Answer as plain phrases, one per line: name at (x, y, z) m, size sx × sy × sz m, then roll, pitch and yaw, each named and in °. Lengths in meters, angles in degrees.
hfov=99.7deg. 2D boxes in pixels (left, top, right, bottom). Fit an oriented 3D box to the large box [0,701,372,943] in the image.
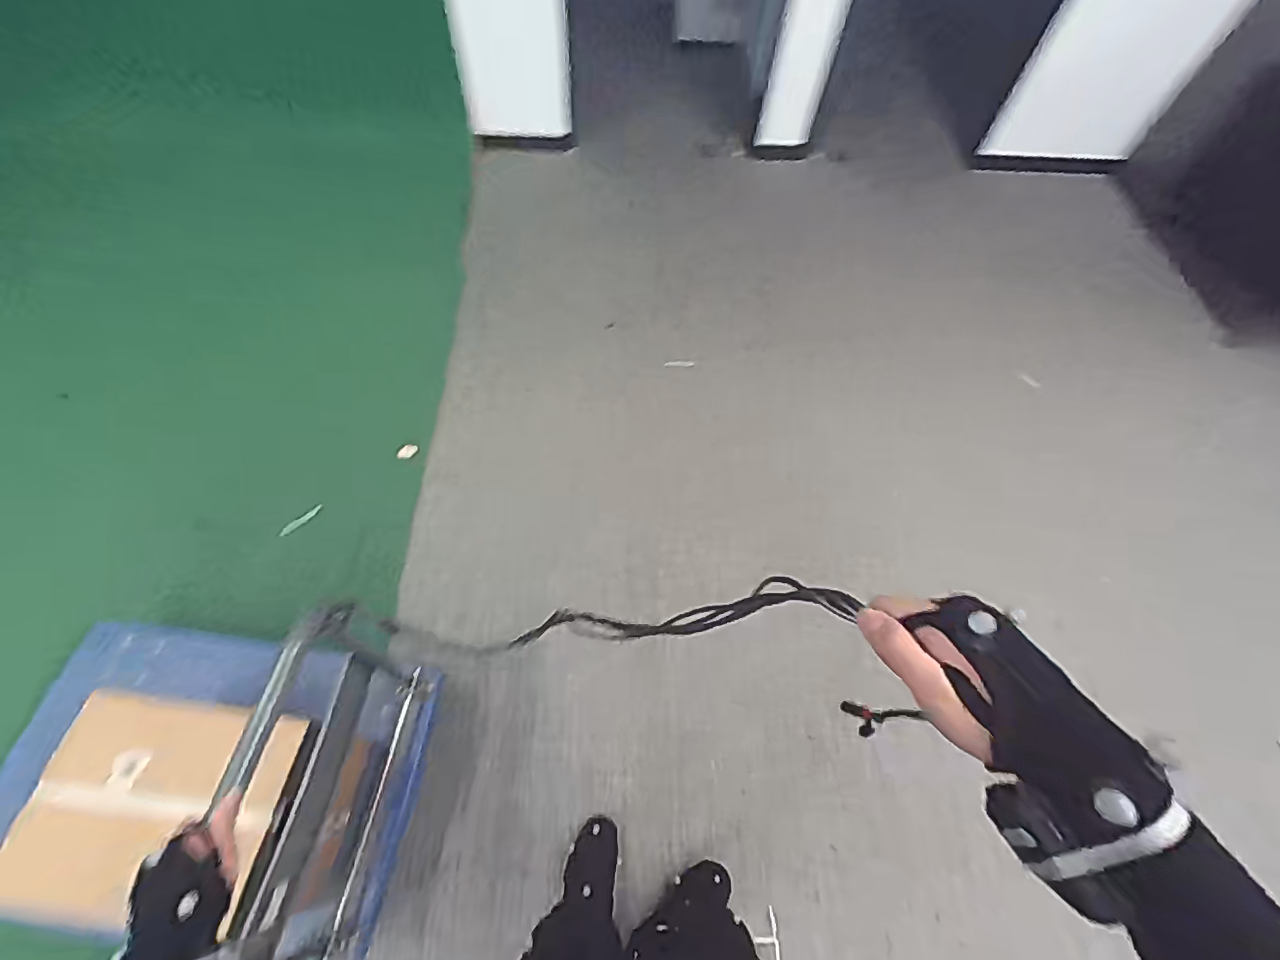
large box at (-0.806, 0.625, 1.027) m, size 0.408 × 0.320 × 0.320 m, roll 7°, pitch 59°, yaw 1°
